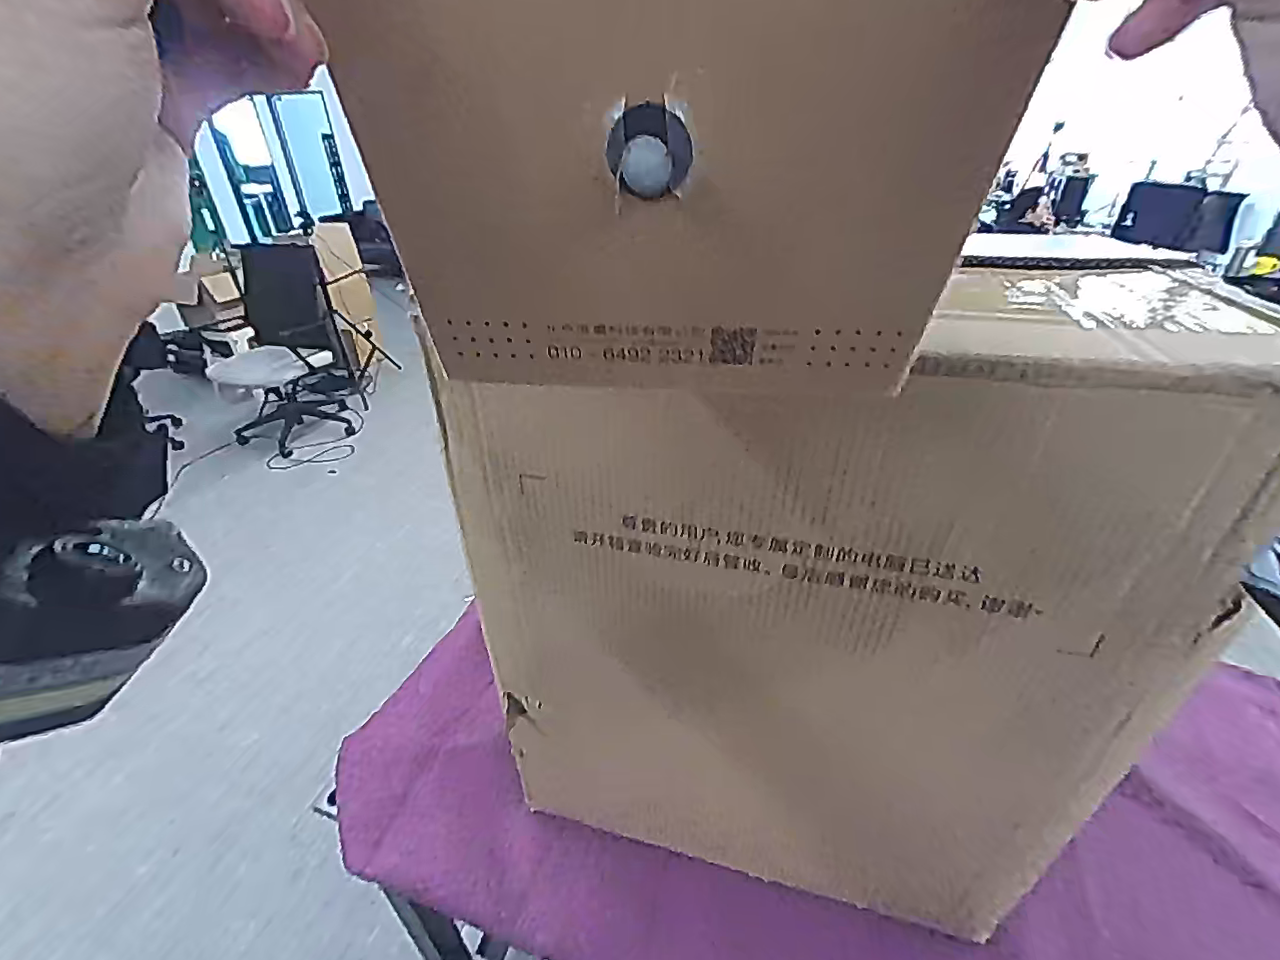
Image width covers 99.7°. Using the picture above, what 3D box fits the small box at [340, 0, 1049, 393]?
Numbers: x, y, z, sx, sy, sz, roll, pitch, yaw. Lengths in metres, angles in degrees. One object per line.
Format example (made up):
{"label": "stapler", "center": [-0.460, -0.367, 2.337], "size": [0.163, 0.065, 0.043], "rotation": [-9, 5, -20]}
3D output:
{"label": "small box", "center": [0.018, -0.148, 0.194], "size": [0.168, 0.176, 0.179], "rotation": [3, 51, 3]}
